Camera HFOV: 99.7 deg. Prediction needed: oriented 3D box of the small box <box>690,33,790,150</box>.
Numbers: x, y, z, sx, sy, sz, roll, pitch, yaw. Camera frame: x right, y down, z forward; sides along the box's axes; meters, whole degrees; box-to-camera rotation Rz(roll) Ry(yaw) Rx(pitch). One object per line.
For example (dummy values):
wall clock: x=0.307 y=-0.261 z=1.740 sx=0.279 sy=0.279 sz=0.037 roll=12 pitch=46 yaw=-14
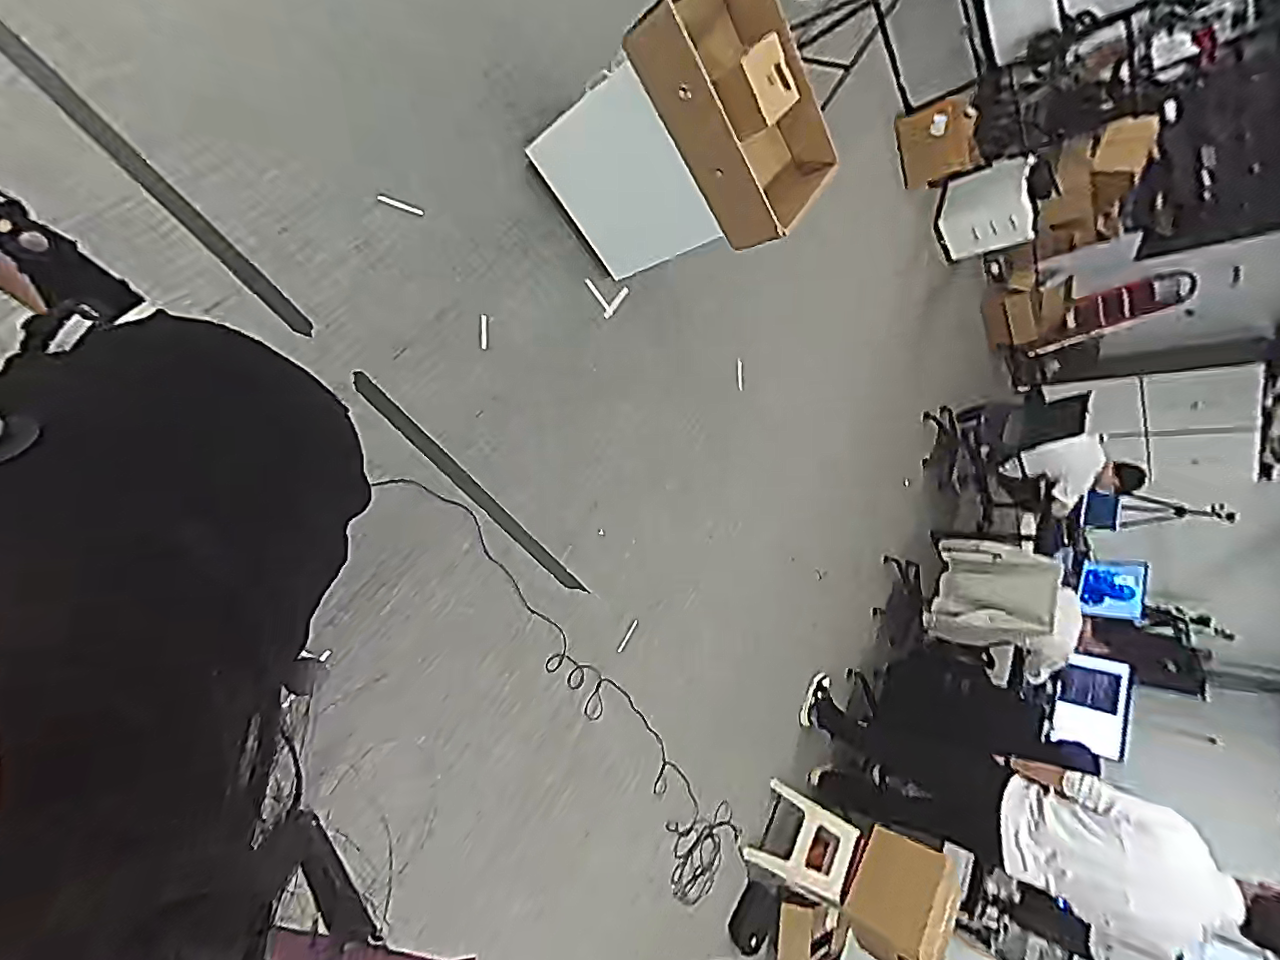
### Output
small box: x=0.265 y=-1.029 z=1.444 sx=0.179 sy=0.176 sz=0.168 roll=-53 pitch=124 yaw=-23
